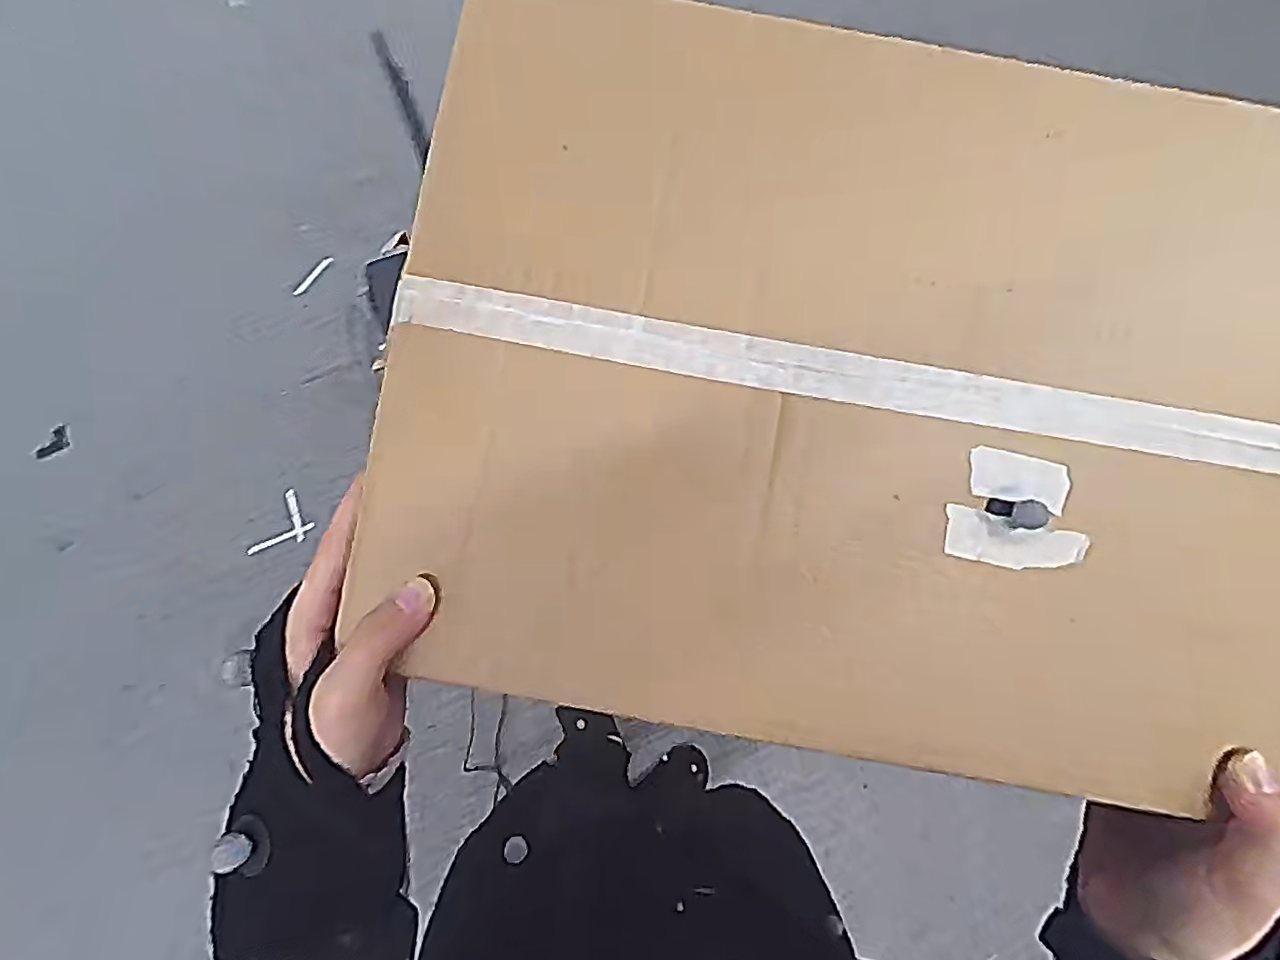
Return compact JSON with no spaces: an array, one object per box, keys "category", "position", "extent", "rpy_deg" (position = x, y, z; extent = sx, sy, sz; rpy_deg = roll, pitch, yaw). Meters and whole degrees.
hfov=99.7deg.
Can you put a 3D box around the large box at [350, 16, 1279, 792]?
[{"category":"large box","position":[0.086,-0.030,0.391],"extent":[0.408,0.320,0.320],"rpy_deg":[9,87,-1]}]
